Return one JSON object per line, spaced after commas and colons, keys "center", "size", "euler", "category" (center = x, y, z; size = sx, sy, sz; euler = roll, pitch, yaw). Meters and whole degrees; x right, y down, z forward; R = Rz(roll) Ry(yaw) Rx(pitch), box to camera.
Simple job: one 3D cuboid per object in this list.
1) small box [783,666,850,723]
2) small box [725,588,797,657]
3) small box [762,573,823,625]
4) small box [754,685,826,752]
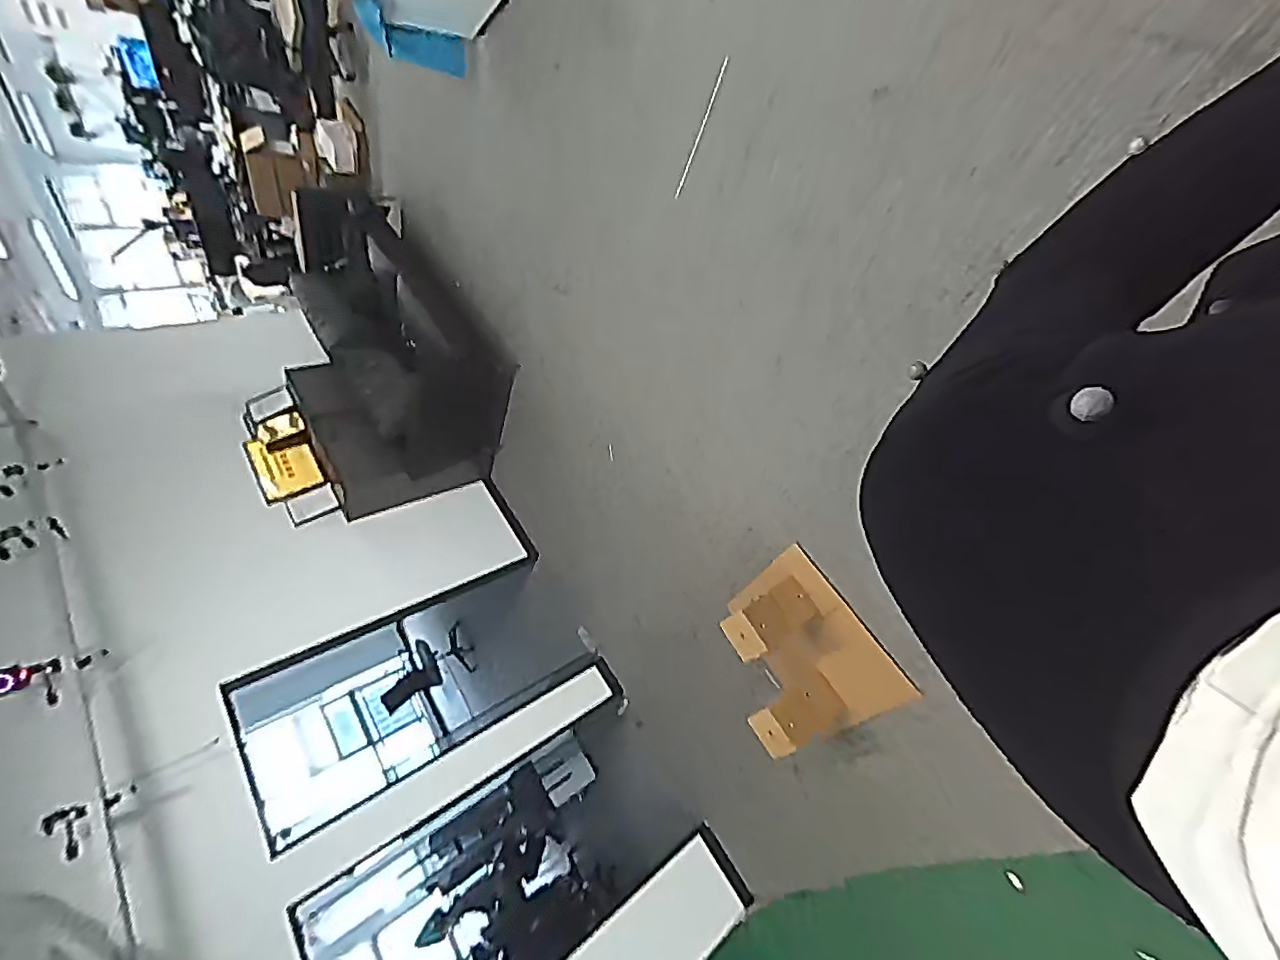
{"center": [0.721, 0.894, 2.232], "size": [0.179, 0.176, 0.168], "euler": [54, 143, 19], "category": "small box"}
{"center": [0.475, 0.552, 2.103], "size": [0.179, 0.176, 0.168], "euler": [56, 142, 16], "category": "small box"}
{"center": [0.599, 0.500, 2.195], "size": [0.179, 0.176, 0.168], "euler": [55, 143, 18], "category": "small box"}
{"center": [0.594, 0.937, 2.141], "size": [0.179, 0.176, 0.168], "euler": [54, 141, 19], "category": "small box"}
